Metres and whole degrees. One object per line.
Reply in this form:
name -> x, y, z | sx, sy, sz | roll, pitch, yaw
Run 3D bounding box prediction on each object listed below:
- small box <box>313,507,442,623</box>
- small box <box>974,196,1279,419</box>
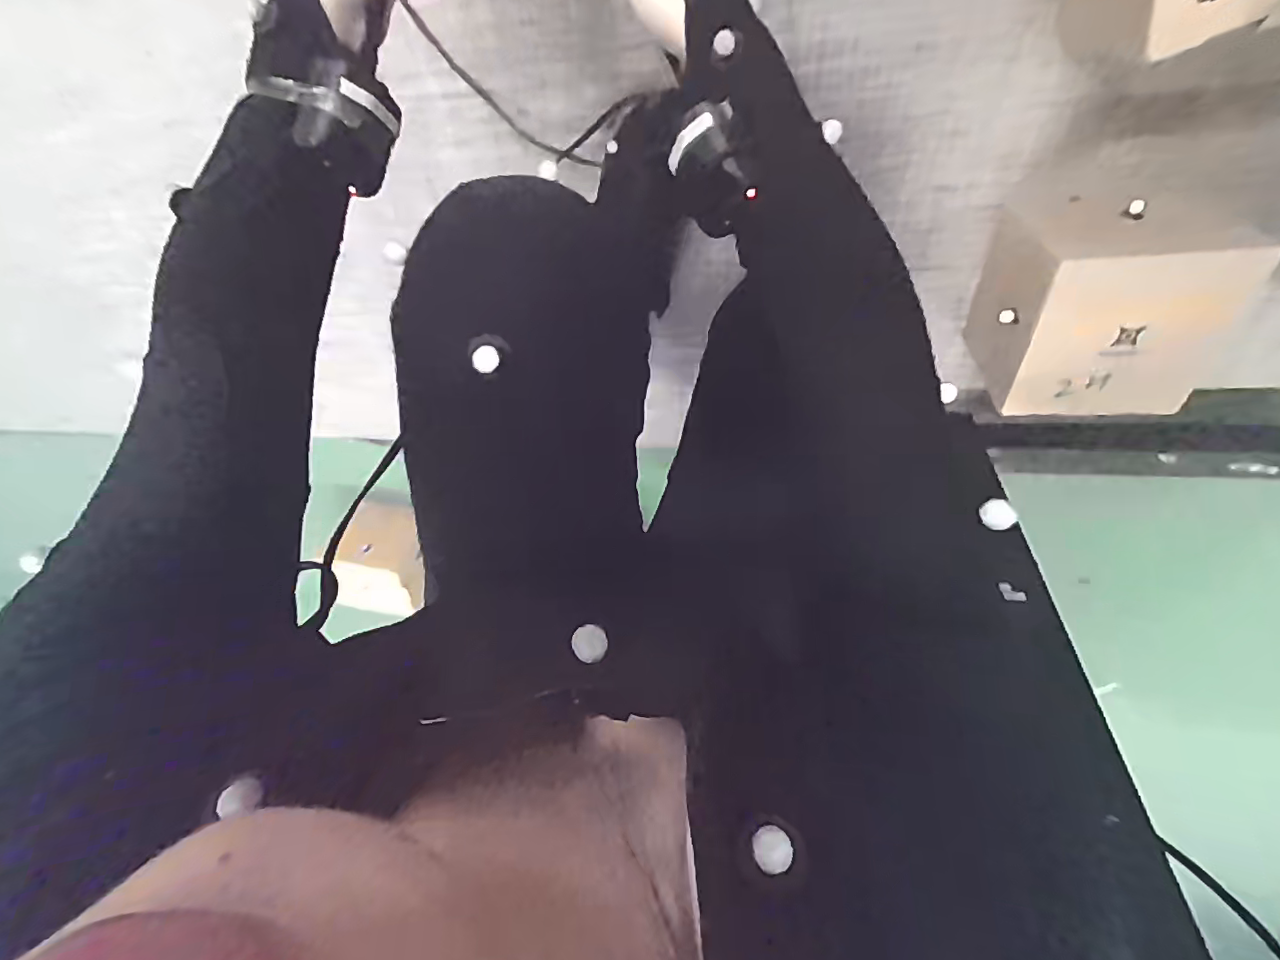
small box -> -0.546, 0.178, 1.161 | 0.179, 0.176, 0.168 | 10, 134, 6
small box -> 0.479, -0.183, 0.569 | 0.168, 0.176, 0.179 | 2, 134, 13
